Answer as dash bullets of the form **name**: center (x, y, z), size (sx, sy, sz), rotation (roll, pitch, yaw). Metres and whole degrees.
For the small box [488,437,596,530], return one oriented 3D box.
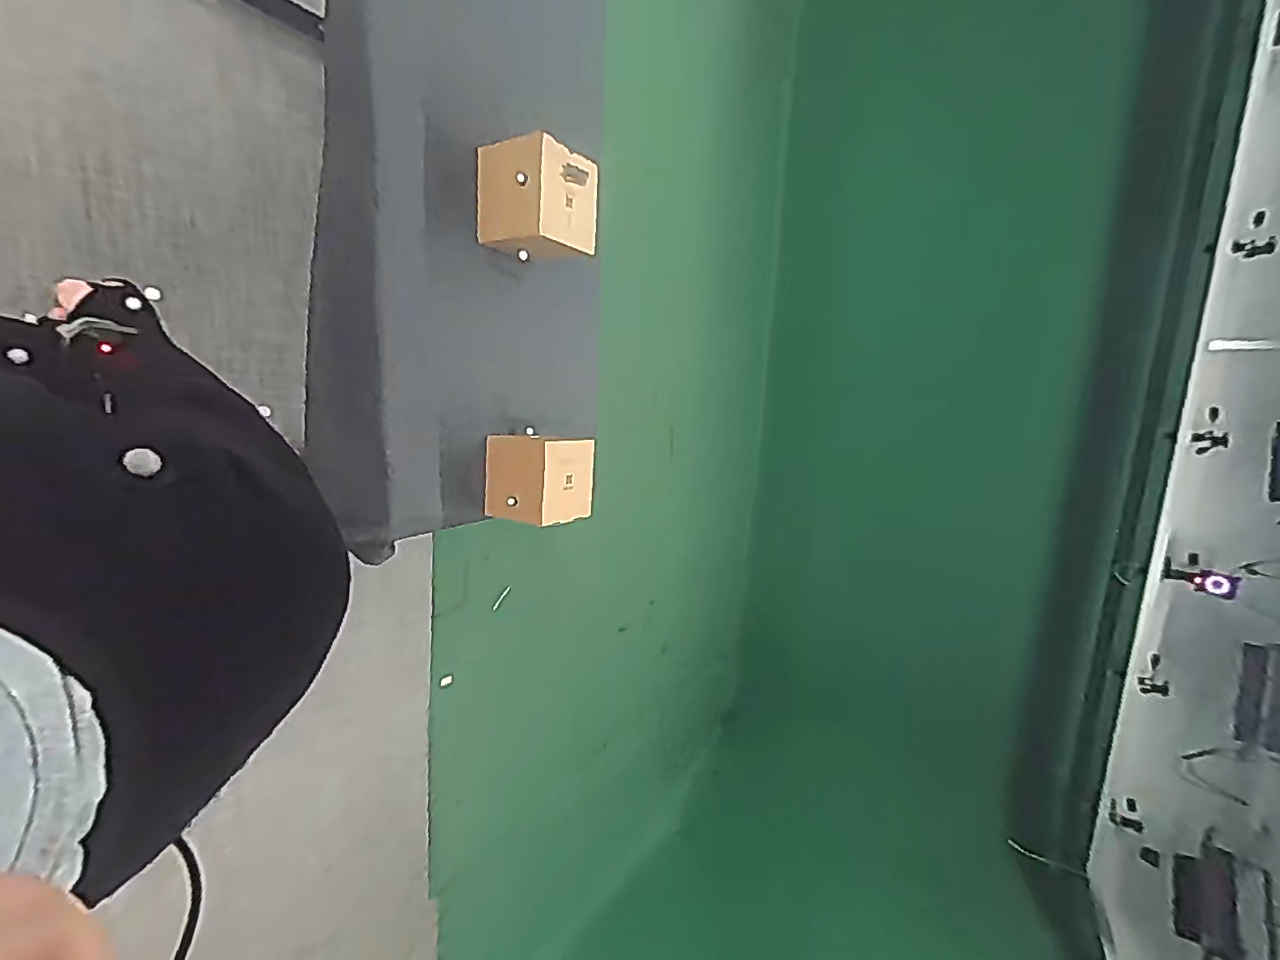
- **small box**: center (-0.213, 0.000, 1.175), size (0.168, 0.176, 0.179), rotation (-10, 104, -58)

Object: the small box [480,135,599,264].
- **small box**: center (-0.199, -0.540, 1.069), size (0.168, 0.176, 0.179), rotation (-11, 108, -56)
